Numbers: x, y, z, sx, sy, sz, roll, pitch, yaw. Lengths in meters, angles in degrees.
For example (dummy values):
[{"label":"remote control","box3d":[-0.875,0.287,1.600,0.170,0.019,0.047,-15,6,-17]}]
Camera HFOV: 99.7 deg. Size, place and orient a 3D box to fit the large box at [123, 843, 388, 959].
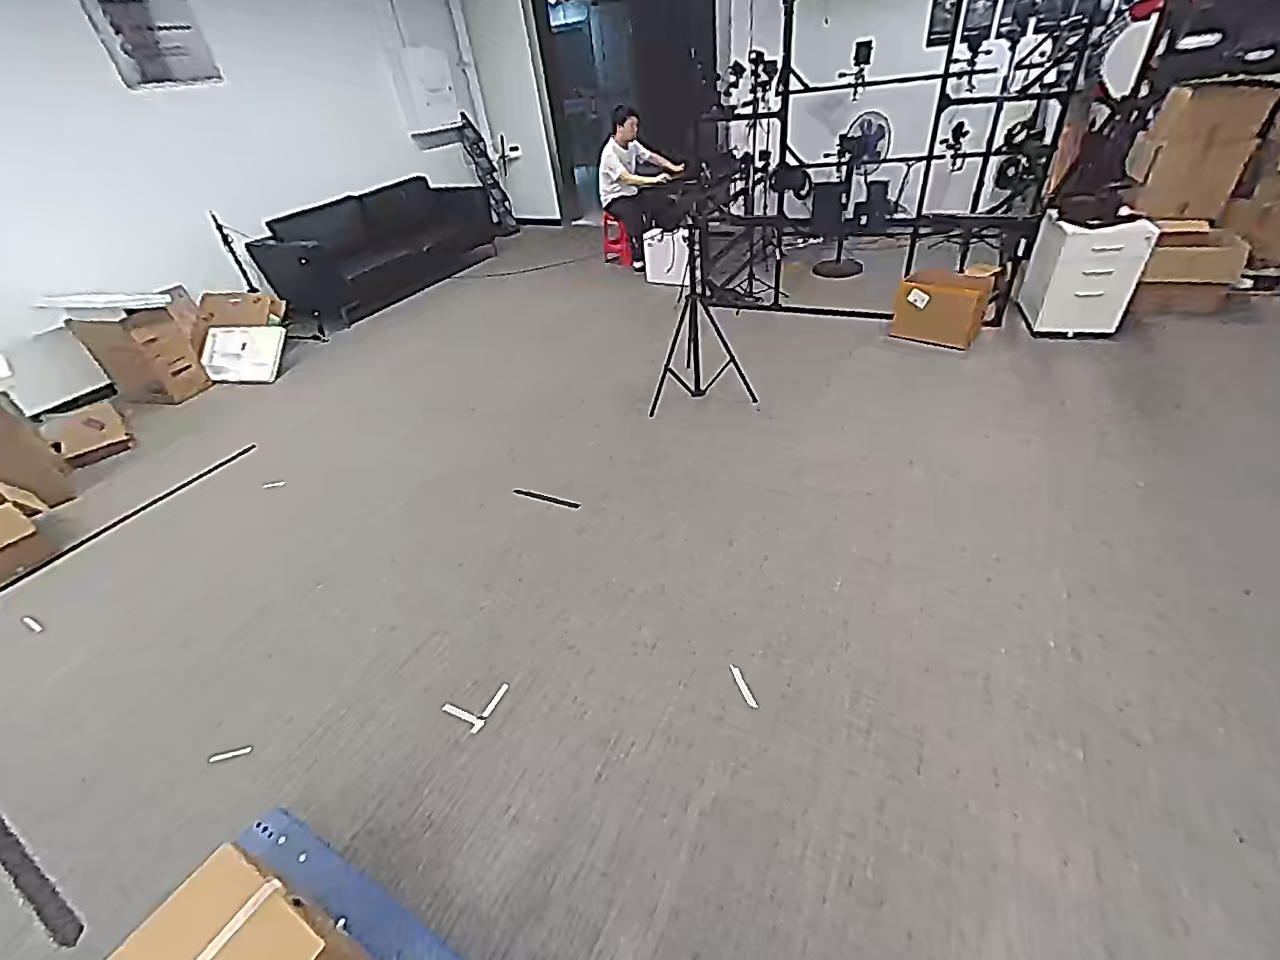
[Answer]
[{"label":"large box","box3d":[-0.704,0.942,0.909,0.320,0.320,0.408,14,43,28]}]
